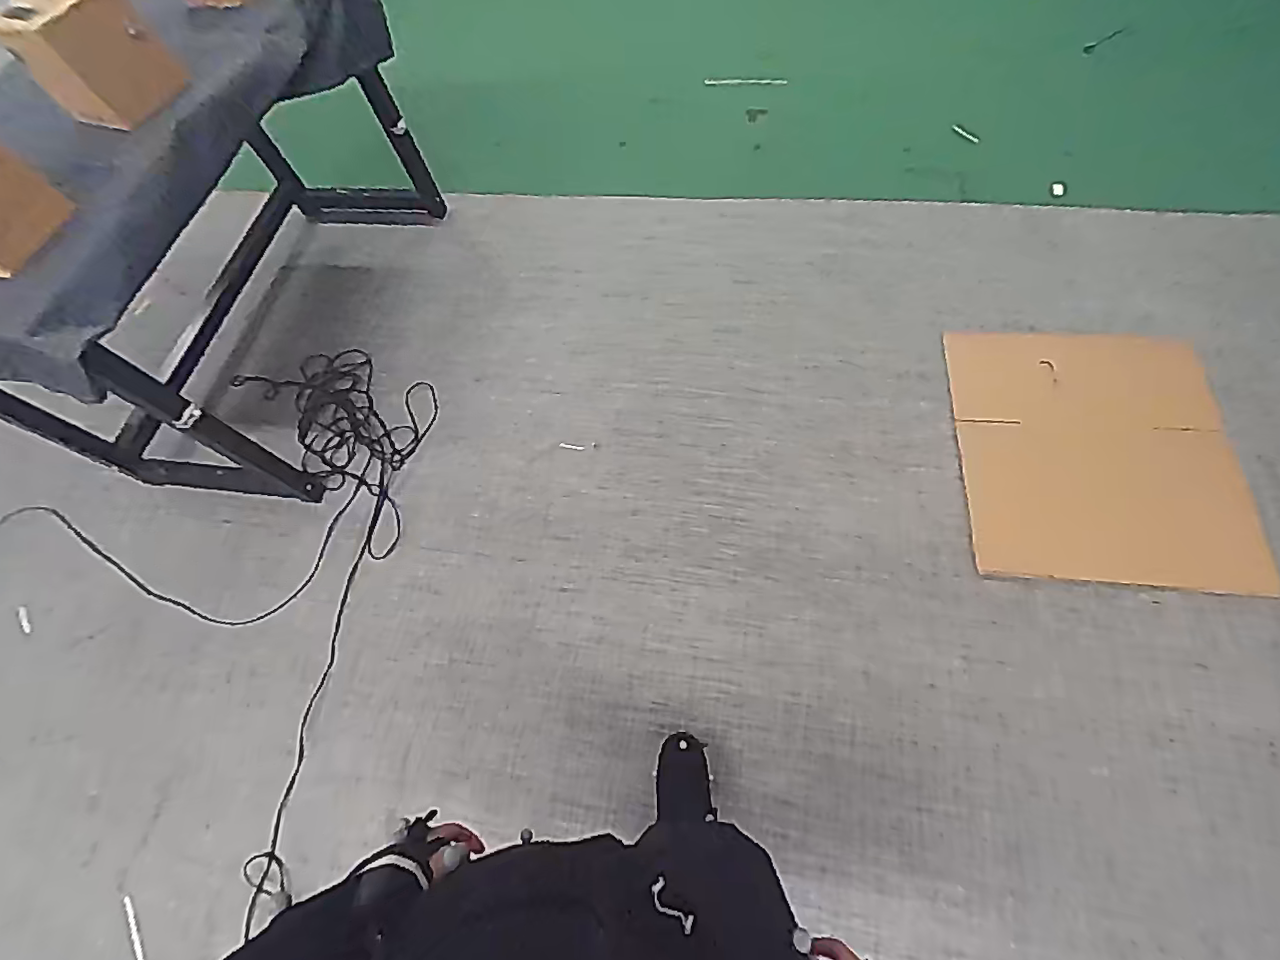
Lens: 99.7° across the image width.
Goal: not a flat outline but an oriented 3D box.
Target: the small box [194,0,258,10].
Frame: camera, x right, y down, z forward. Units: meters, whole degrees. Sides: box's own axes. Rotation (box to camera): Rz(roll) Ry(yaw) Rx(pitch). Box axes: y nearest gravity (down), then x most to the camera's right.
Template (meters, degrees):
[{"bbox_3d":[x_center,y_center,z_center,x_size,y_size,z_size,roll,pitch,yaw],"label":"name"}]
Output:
[{"bbox_3d":[-0.951,-1.190,1.204,0.168,0.176,0.179,11,66,11],"label":"small box"}]
